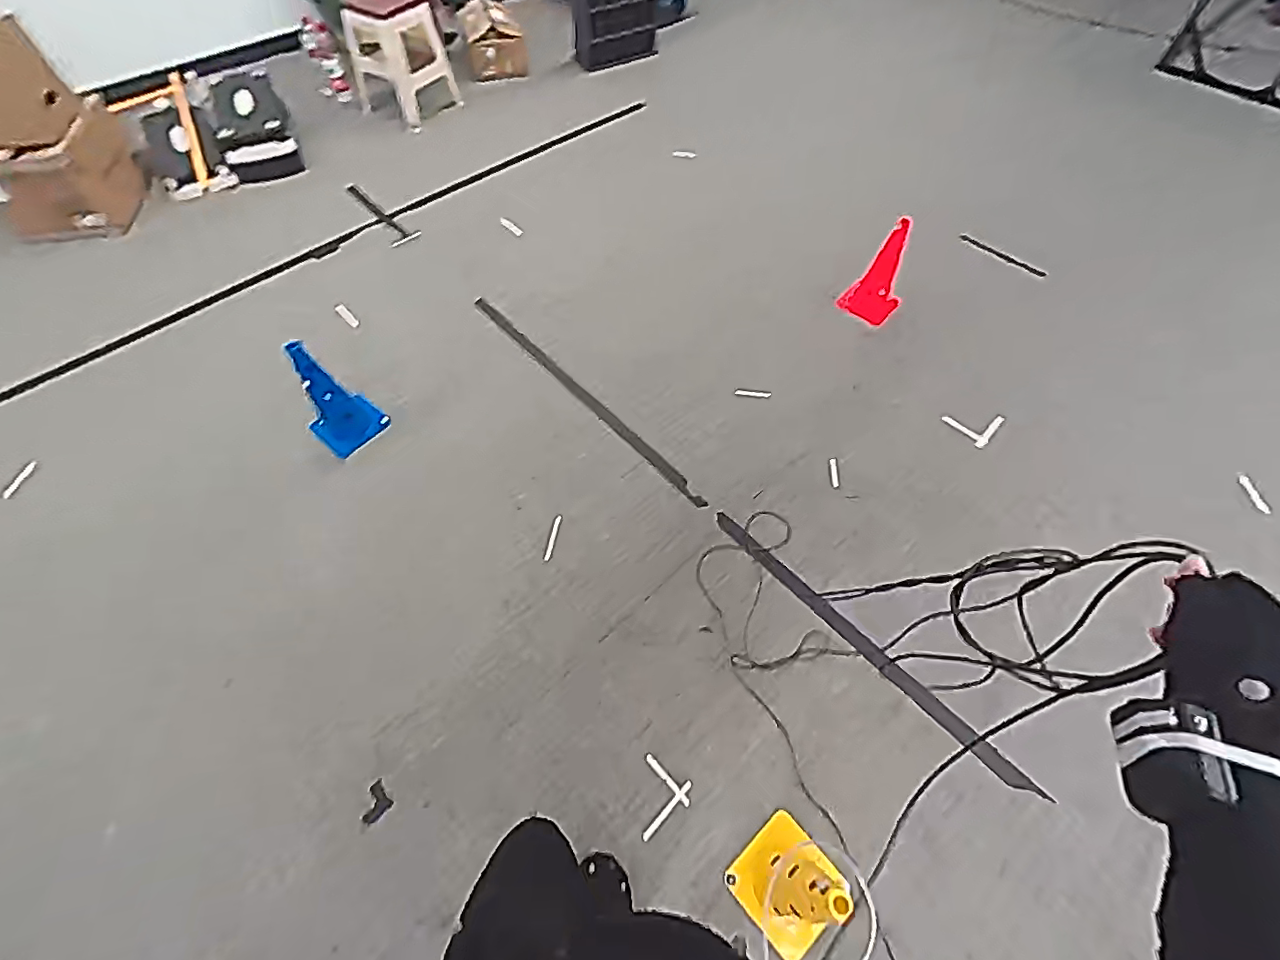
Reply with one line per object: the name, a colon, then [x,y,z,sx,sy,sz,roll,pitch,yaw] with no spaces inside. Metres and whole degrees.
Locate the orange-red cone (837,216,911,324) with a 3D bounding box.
orange-red cone: [0.905,-0.796,1.995,0.199,0.360,0.198,37,64,22]

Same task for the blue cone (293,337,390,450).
blue cone: [-0.952,-0.279,1.651,0.193,0.380,0.192,37,64,21]
